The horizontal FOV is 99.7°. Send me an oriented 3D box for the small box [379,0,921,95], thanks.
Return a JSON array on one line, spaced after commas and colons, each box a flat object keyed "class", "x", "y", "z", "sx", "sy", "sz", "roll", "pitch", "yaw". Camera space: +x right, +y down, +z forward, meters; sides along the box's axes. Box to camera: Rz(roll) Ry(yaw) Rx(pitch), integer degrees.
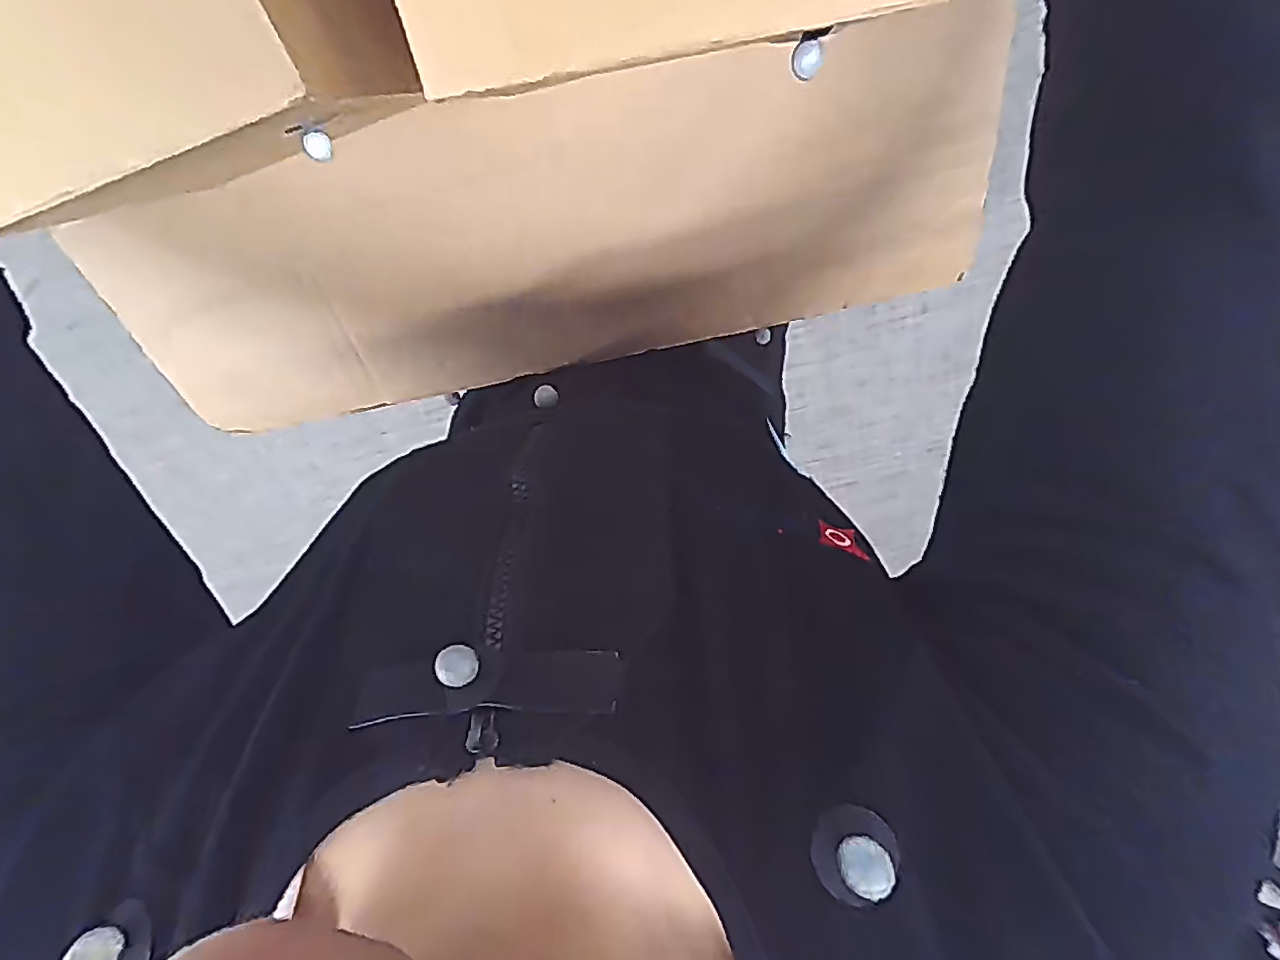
[{"class": "small box", "x": -0.003, "y": -0.251, "z": 0.193, "sx": 0.179, "sy": 0.176, "sz": 0.168, "roll": -7, "pitch": 127, "yaw": 6}]
